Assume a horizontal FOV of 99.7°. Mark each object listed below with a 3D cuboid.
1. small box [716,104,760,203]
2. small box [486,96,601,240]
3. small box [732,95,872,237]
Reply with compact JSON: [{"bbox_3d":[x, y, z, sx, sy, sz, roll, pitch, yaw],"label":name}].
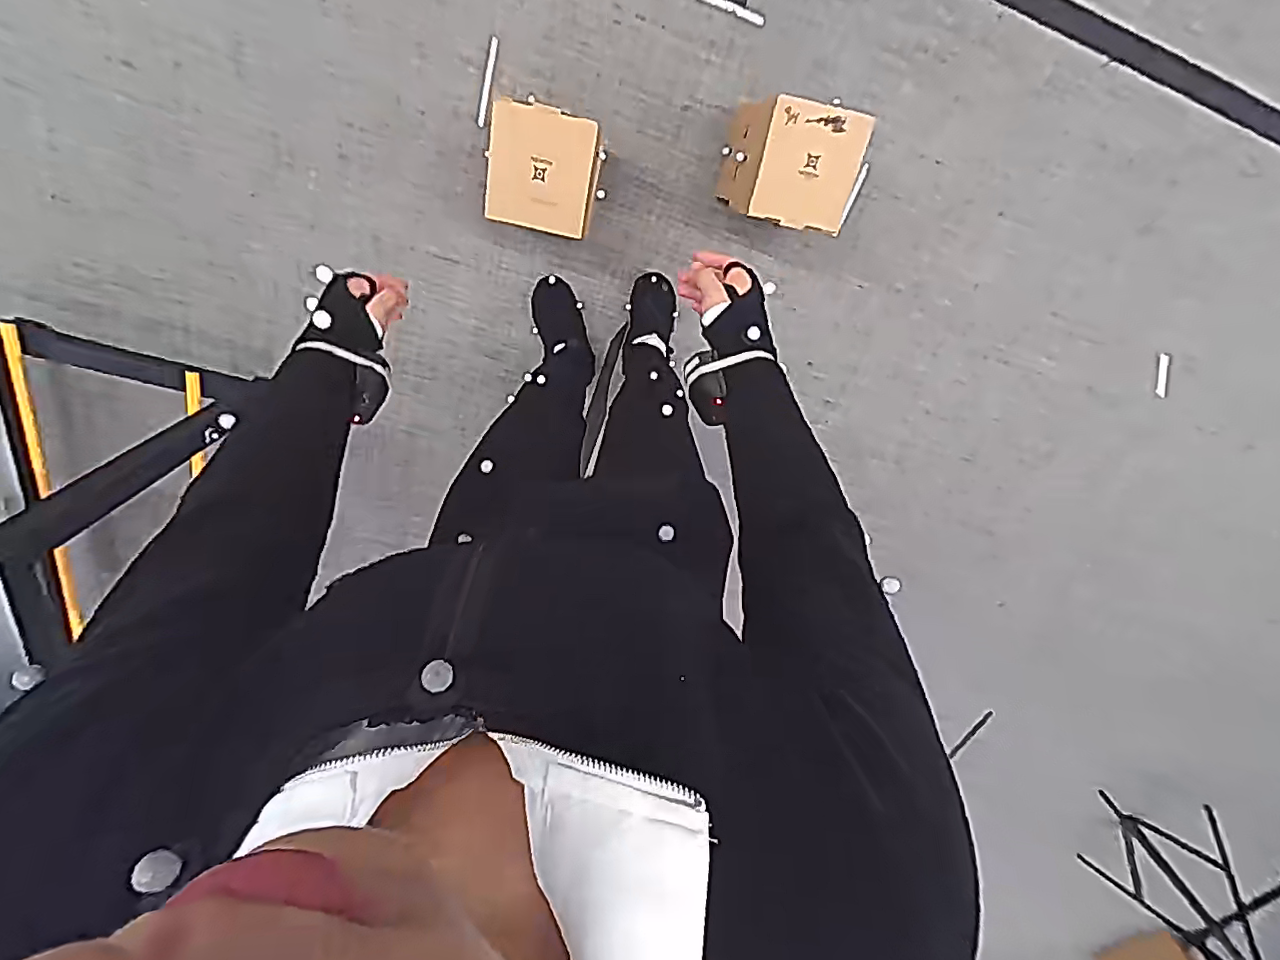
[{"bbox_3d":[0.268,-0.638,1.095,0.179,0.176,0.168,10,119,-9],"label":"small box"},{"bbox_3d":[-0.163,-0.538,0.942,0.168,0.176,0.179,10,120,-7],"label":"small box"},{"bbox_3d":[0.271,-0.550,0.956,0.168,0.176,0.179,9,120,-8],"label":"small box"}]
